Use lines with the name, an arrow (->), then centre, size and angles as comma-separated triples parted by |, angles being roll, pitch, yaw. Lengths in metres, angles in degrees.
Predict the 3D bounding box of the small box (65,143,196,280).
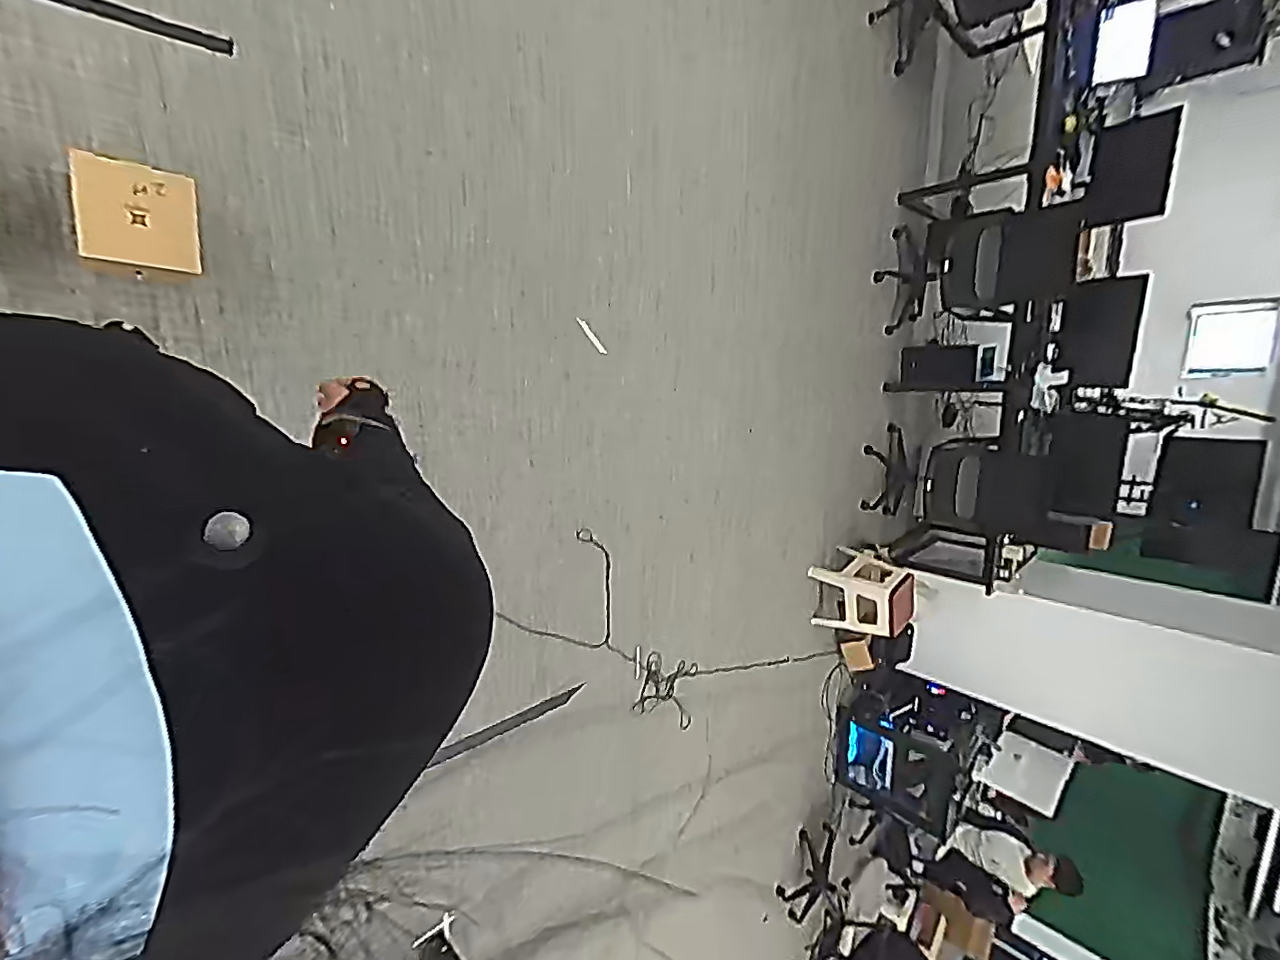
small box -> -0.948, -0.486, 1.013 | 0.168, 0.176, 0.179 | -5, 101, -44
